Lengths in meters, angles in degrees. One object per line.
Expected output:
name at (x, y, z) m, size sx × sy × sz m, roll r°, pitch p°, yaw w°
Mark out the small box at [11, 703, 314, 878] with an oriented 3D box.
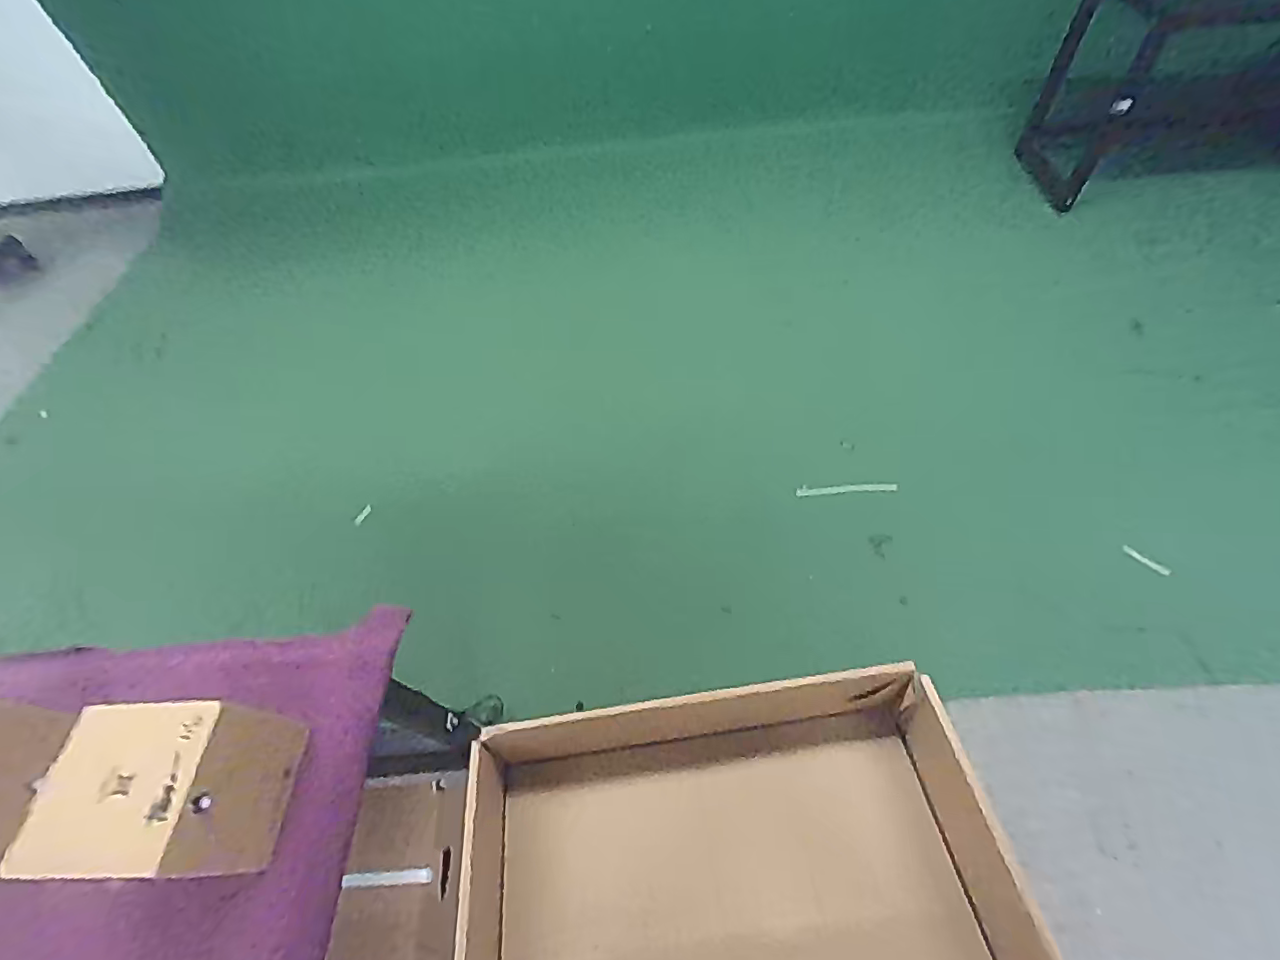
small box at (-0.544, 0.373, 0.649) m, size 0.179 × 0.176 × 0.168 m, roll -4°, pitch 56°, yaw 6°
